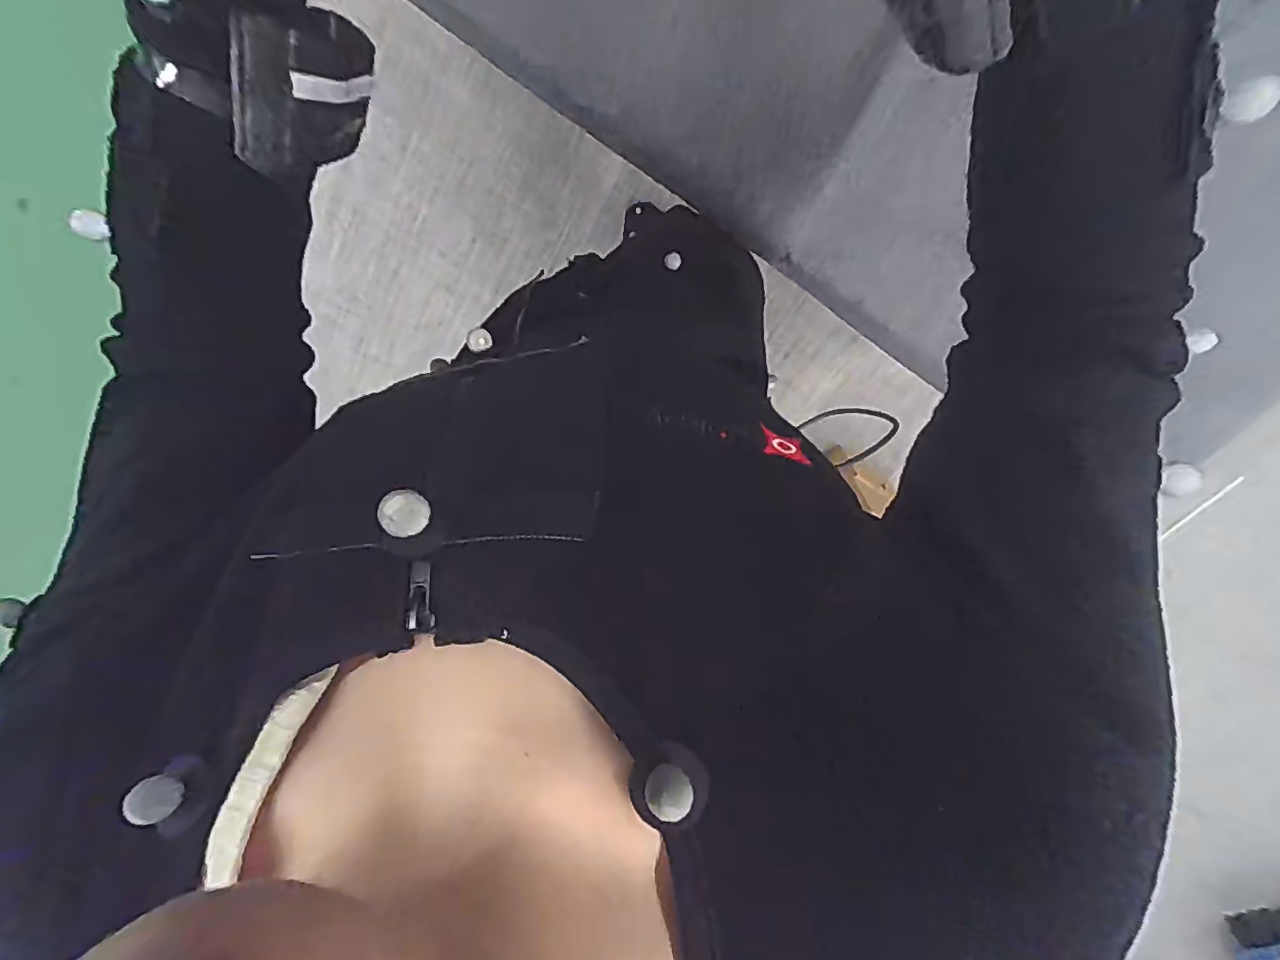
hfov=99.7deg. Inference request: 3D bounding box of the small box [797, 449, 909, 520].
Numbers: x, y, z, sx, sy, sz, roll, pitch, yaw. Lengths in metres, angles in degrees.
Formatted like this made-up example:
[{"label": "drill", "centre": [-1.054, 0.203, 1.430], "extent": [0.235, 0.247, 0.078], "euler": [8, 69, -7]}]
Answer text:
[{"label": "small box", "centre": [0.522, 0.050, 1.348], "extent": [0.179, 0.176, 0.168], "euler": [32, 115, -11]}]
